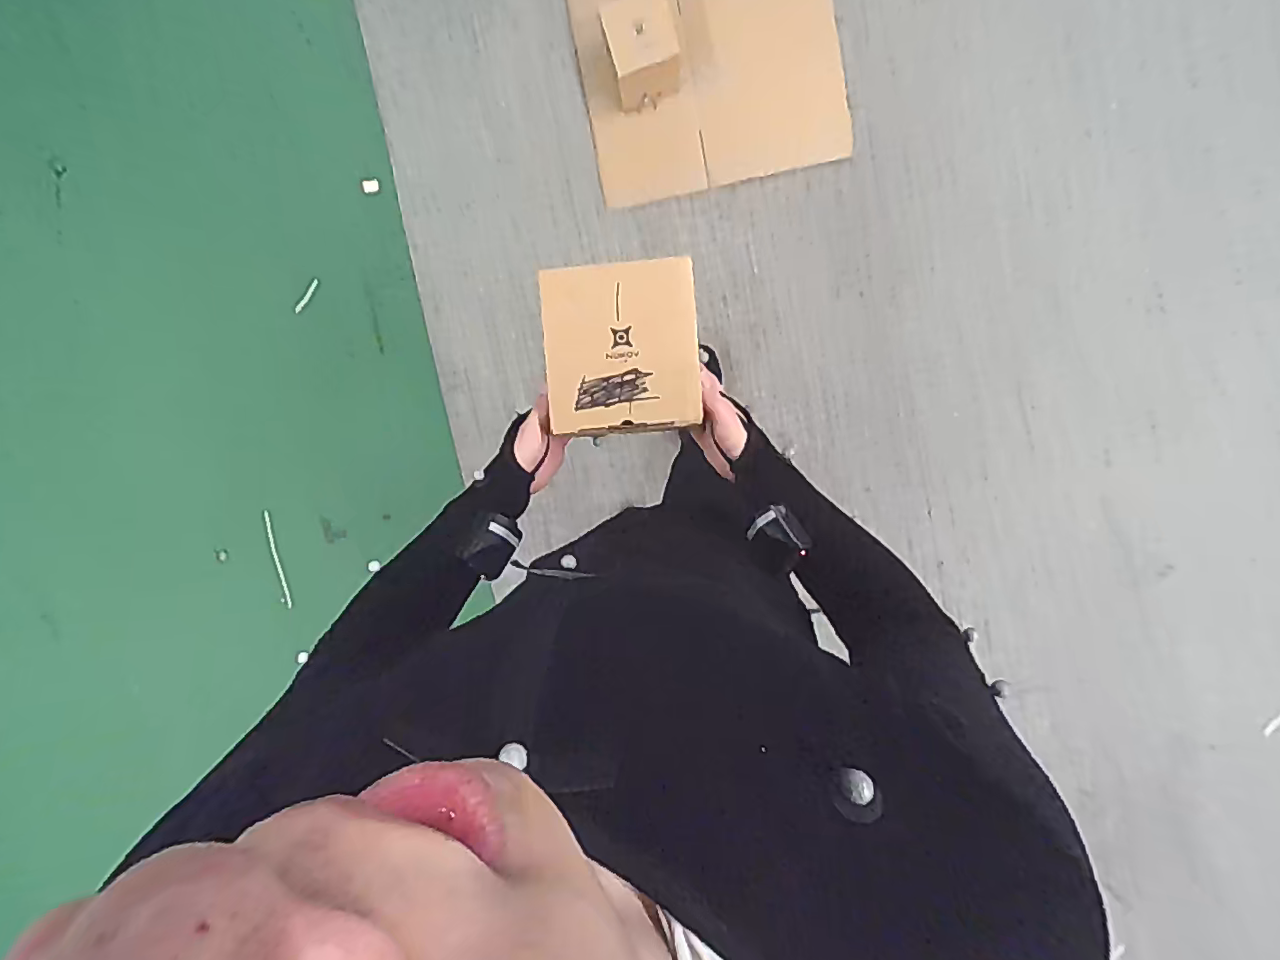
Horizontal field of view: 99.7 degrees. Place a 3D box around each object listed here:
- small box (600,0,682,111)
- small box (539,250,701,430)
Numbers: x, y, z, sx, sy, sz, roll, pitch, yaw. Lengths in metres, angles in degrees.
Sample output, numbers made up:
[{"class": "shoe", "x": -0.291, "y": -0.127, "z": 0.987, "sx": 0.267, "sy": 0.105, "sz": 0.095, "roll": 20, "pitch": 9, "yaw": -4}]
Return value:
[{"class": "small box", "x": 0.005, "y": -1.106, "z": 1.392, "sx": 0.168, "sy": 0.176, "sz": 0.179, "roll": -16, "pitch": 95, "yaw": 5}, {"class": "small box", "x": -0.016, "y": -0.151, "z": 0.646, "sx": 0.168, "sy": 0.176, "sz": 0.179, "roll": -4, "pitch": 92, "yaw": 3}]
